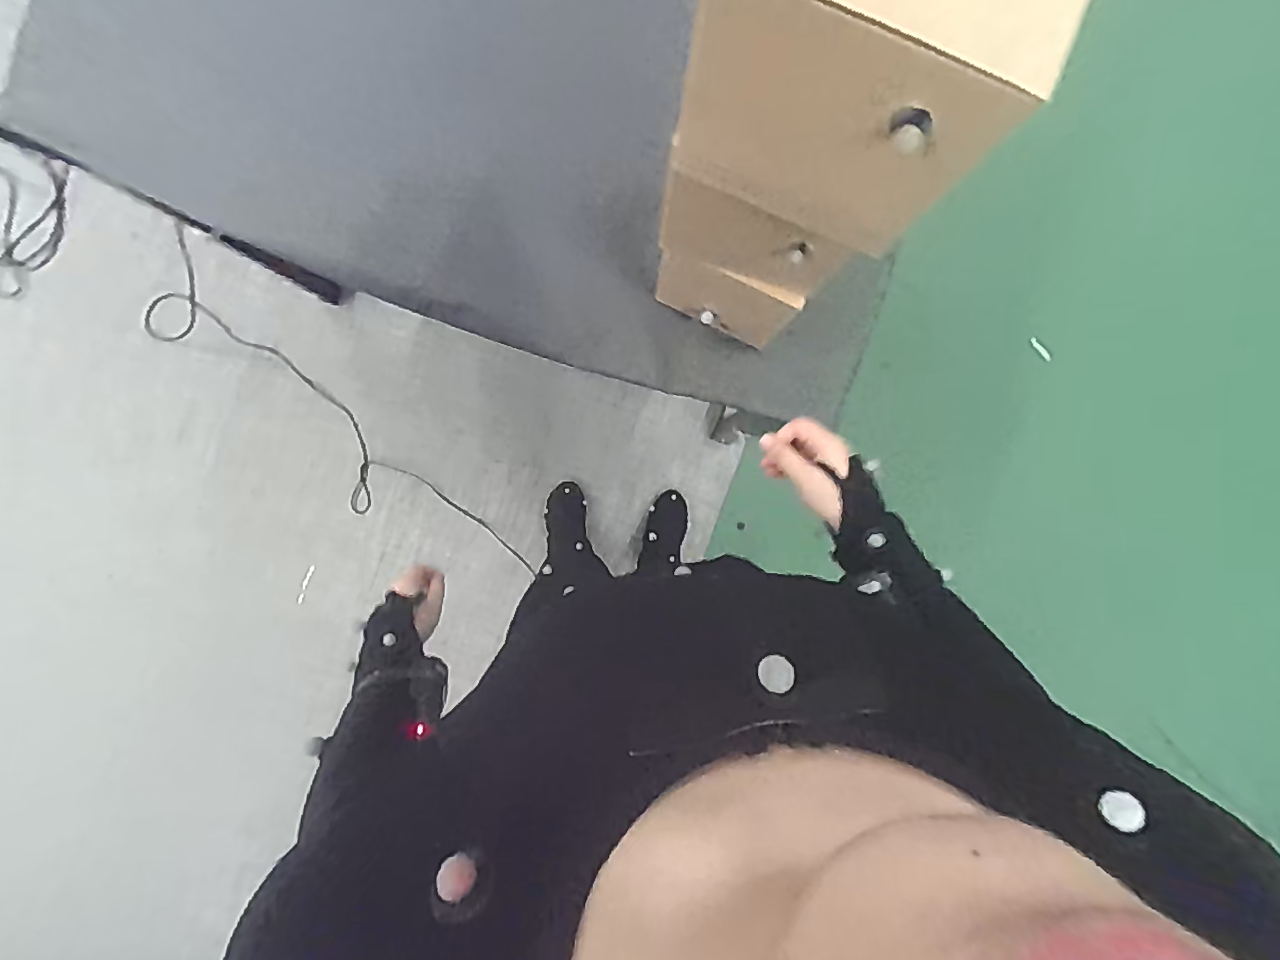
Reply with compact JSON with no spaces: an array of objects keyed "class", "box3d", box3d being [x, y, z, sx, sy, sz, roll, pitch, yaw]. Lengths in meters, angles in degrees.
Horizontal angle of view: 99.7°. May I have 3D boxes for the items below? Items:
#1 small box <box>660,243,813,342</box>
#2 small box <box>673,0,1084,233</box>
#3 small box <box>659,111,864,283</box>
[{"class":"small box","box3d":[0.130,-0.295,0.653,0.168,0.176,0.179,26,89,0]},{"class":"small box","box3d":[0.133,-0.282,0.326,0.179,0.176,0.168,23,87,0]},{"class":"small box","box3d":[0.125,-0.303,0.491,0.179,0.176,0.168,18,87,0]}]
